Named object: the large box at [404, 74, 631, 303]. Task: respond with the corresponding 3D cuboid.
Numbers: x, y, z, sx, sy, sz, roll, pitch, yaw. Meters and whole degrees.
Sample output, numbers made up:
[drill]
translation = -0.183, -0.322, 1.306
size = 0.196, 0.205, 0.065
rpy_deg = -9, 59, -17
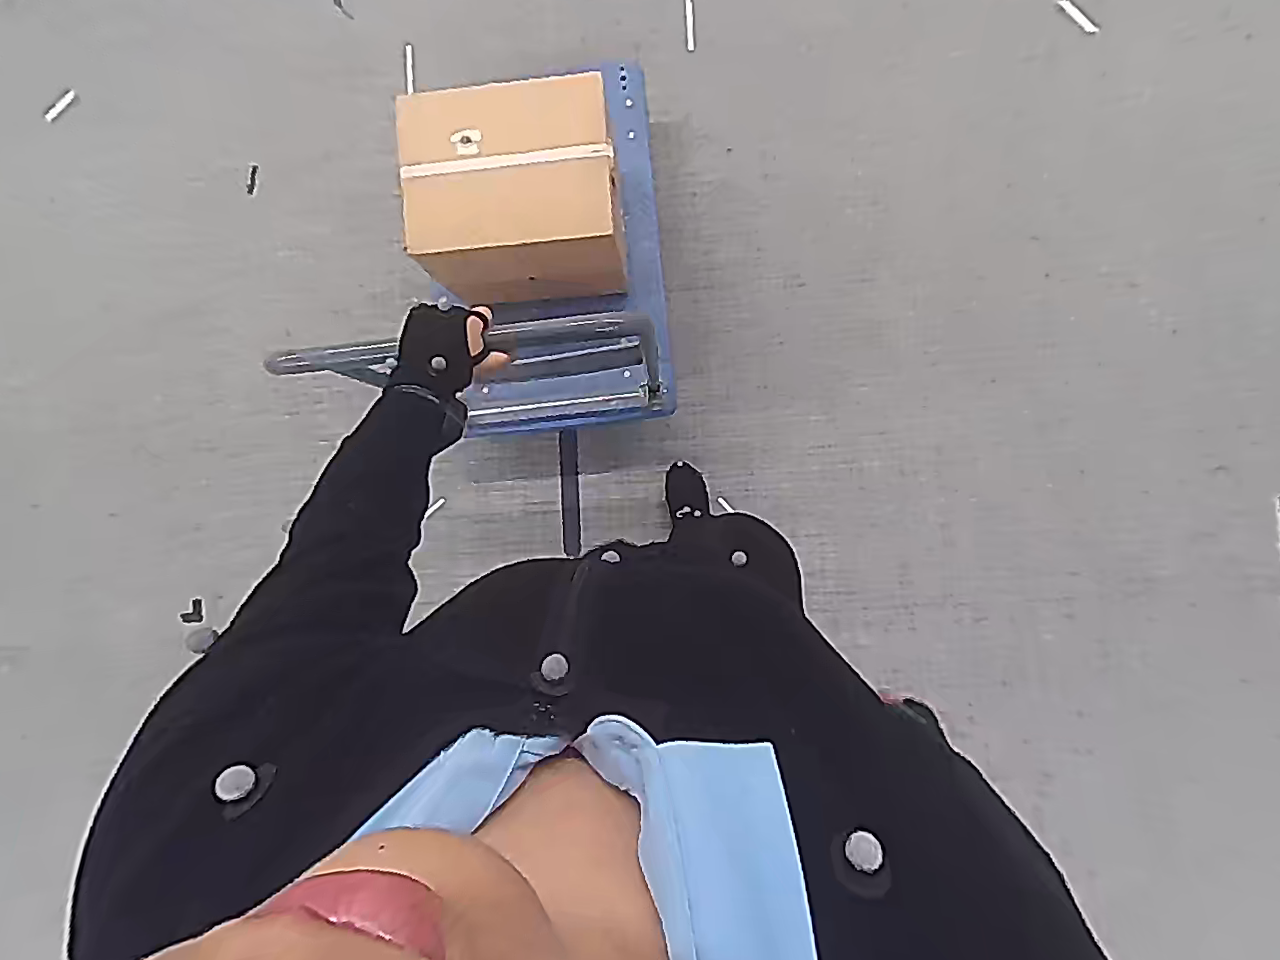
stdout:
[large box]
translation = -0.242, -0.605, 1.190
size = 0.408, 0.320, 0.320
rpy_deg = -4, 88, 5
